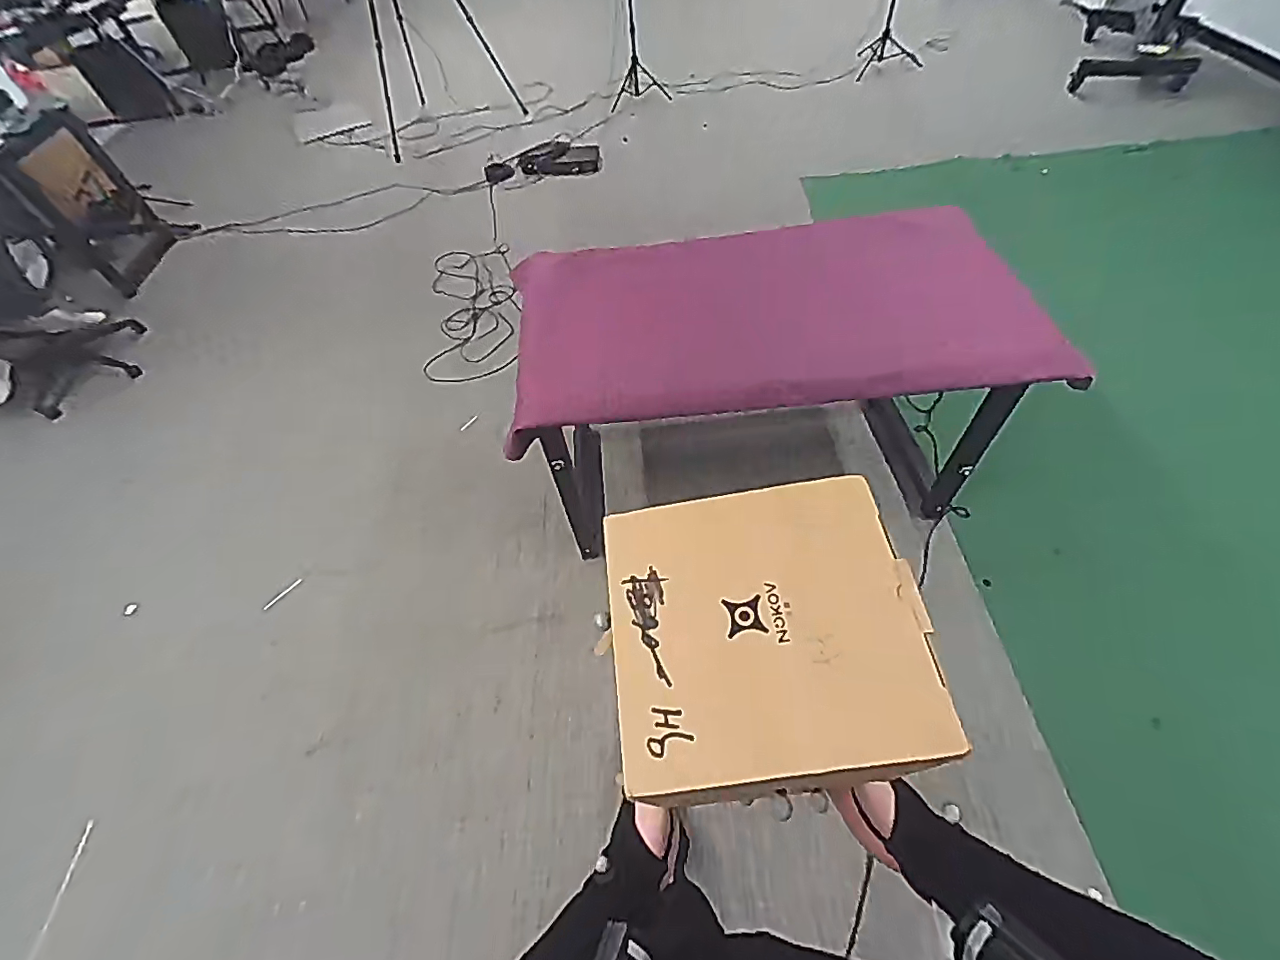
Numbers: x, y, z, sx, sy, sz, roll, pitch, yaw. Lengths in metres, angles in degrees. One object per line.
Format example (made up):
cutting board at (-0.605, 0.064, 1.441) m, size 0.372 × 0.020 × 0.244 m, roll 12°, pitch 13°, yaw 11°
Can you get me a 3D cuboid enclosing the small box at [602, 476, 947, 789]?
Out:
small box at (0.076, 0.119, 0.389) m, size 0.179 × 0.176 × 0.168 m, roll -9°, pitch 57°, yaw 4°
